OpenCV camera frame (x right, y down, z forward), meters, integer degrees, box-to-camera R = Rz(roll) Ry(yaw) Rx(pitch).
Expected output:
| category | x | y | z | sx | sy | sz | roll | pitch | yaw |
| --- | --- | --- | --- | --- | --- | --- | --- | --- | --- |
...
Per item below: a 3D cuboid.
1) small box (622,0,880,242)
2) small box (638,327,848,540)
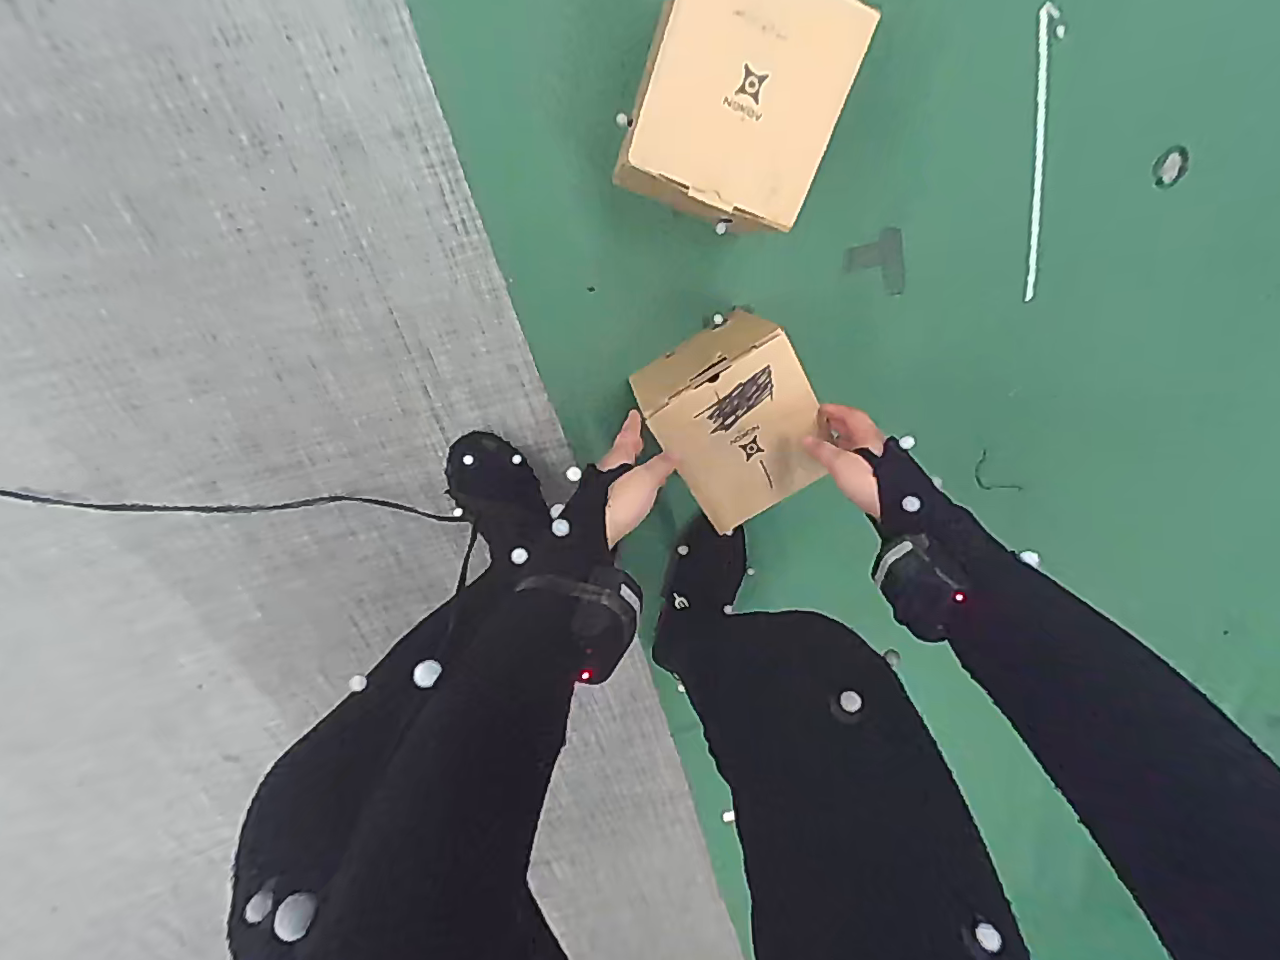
| category | x | y | z | sx | sy | sz | roll | pitch | yaw |
| --- | --- | --- | --- | --- | --- | --- | --- | --- | --- |
| small box | 0.086 | -0.348 | 0.526 | 0.168 | 0.176 | 0.179 | 16 | 110 | -14 |
| small box | 0.112 | -0.068 | 0.650 | 0.168 | 0.176 | 0.179 | -31 | 114 | 7 |
